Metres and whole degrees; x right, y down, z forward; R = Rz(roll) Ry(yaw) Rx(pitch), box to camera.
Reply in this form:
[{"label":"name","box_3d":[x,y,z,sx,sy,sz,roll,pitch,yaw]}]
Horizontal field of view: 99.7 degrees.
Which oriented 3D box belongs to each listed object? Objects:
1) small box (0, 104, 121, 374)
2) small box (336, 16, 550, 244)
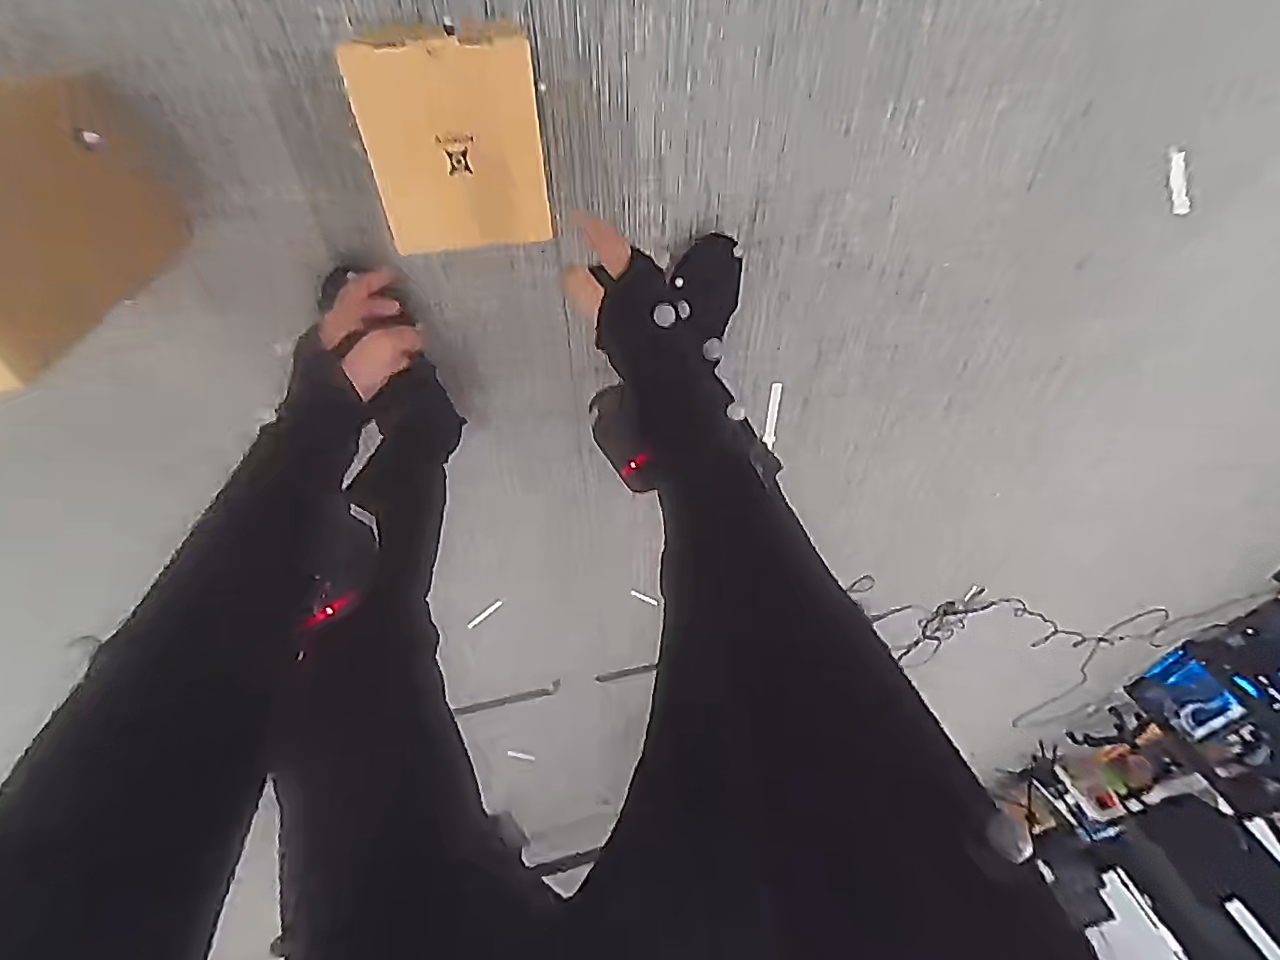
[{"label":"small box","box_3d":[-0.566,-0.190,0.406,0.168,0.176,0.179,-8,134,-8]},{"label":"small box","box_3d":[-0.195,-0.378,0.582,0.168,0.176,0.179,-10,133,-9]}]
